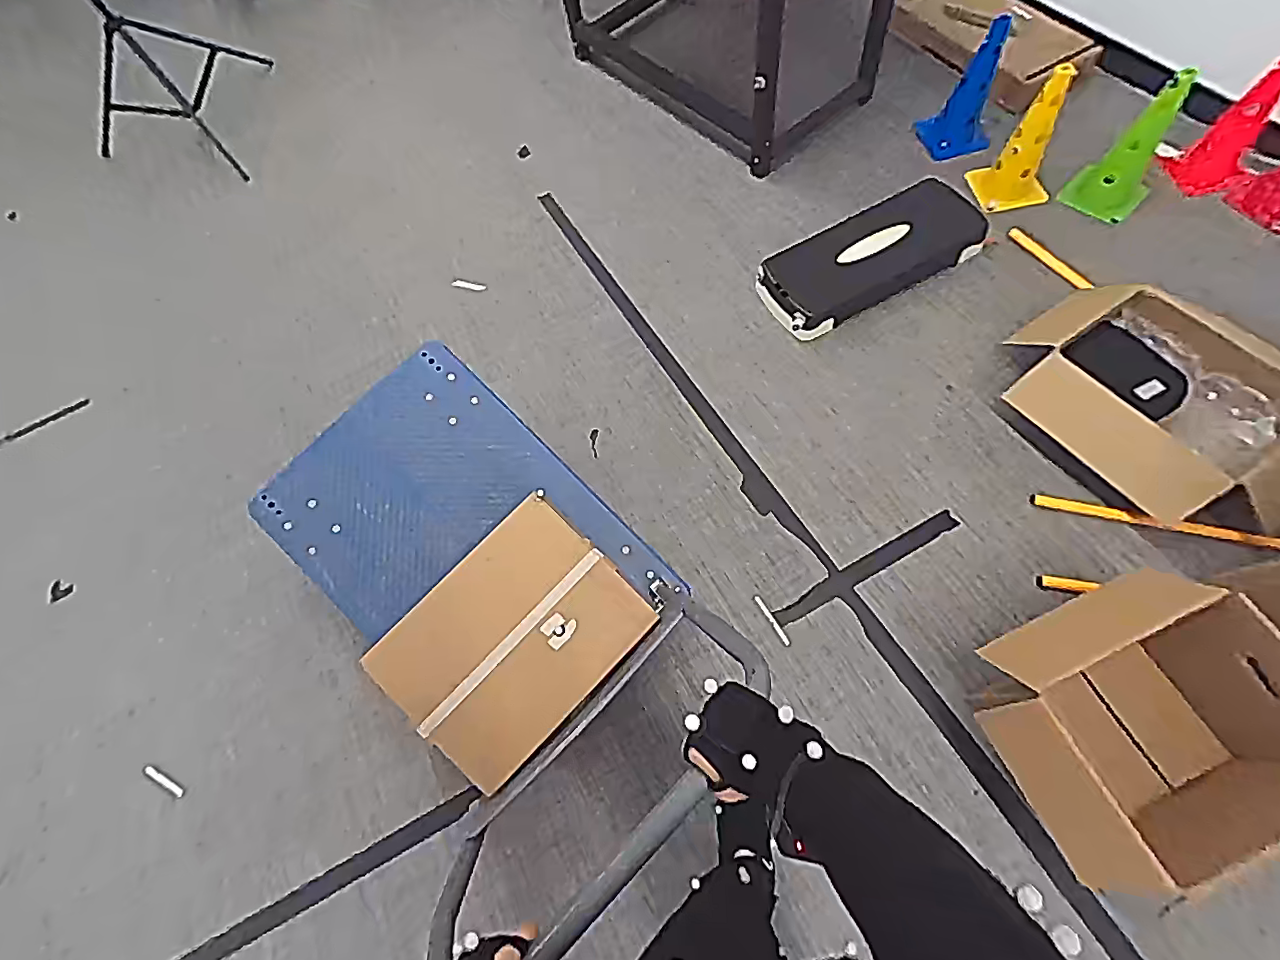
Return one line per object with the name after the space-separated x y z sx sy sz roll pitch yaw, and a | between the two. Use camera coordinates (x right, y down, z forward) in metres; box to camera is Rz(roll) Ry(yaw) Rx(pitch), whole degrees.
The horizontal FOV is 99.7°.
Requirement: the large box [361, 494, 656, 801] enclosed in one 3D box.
-0.223 0.292 1.042 0.320 0.320 0.408 44 81 3 | large box
